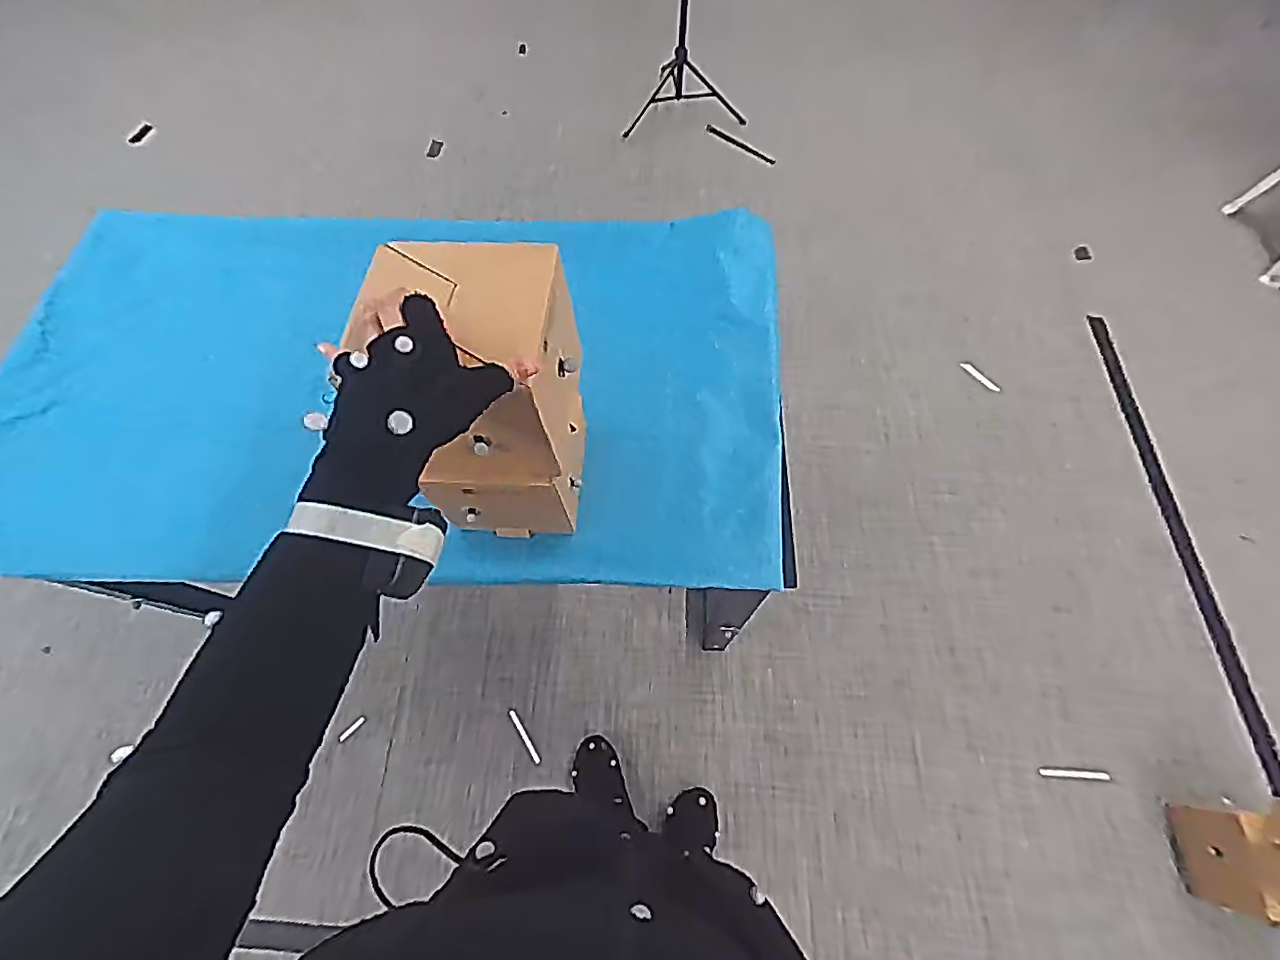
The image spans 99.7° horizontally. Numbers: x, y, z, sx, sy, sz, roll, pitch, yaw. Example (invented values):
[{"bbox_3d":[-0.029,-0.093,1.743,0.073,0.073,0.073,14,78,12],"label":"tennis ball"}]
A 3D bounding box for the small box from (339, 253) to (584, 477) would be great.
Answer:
[{"bbox_3d":[-0.165,-0.113,0.559,0.179,0.176,0.168,2,64,5],"label":"small box"}]

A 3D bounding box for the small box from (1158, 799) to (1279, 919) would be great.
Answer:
[{"bbox_3d":[1.230,0.768,1.103,0.168,0.176,0.179,4,65,3],"label":"small box"}]

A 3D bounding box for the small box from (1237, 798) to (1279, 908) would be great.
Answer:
[{"bbox_3d":[1.239,0.699,0.950,0.168,0.176,0.179,37,71,16],"label":"small box"}]

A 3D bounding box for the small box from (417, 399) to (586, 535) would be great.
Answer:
[{"bbox_3d":[-0.168,-0.038,0.704,0.168,0.176,0.179,2,65,2],"label":"small box"}]
